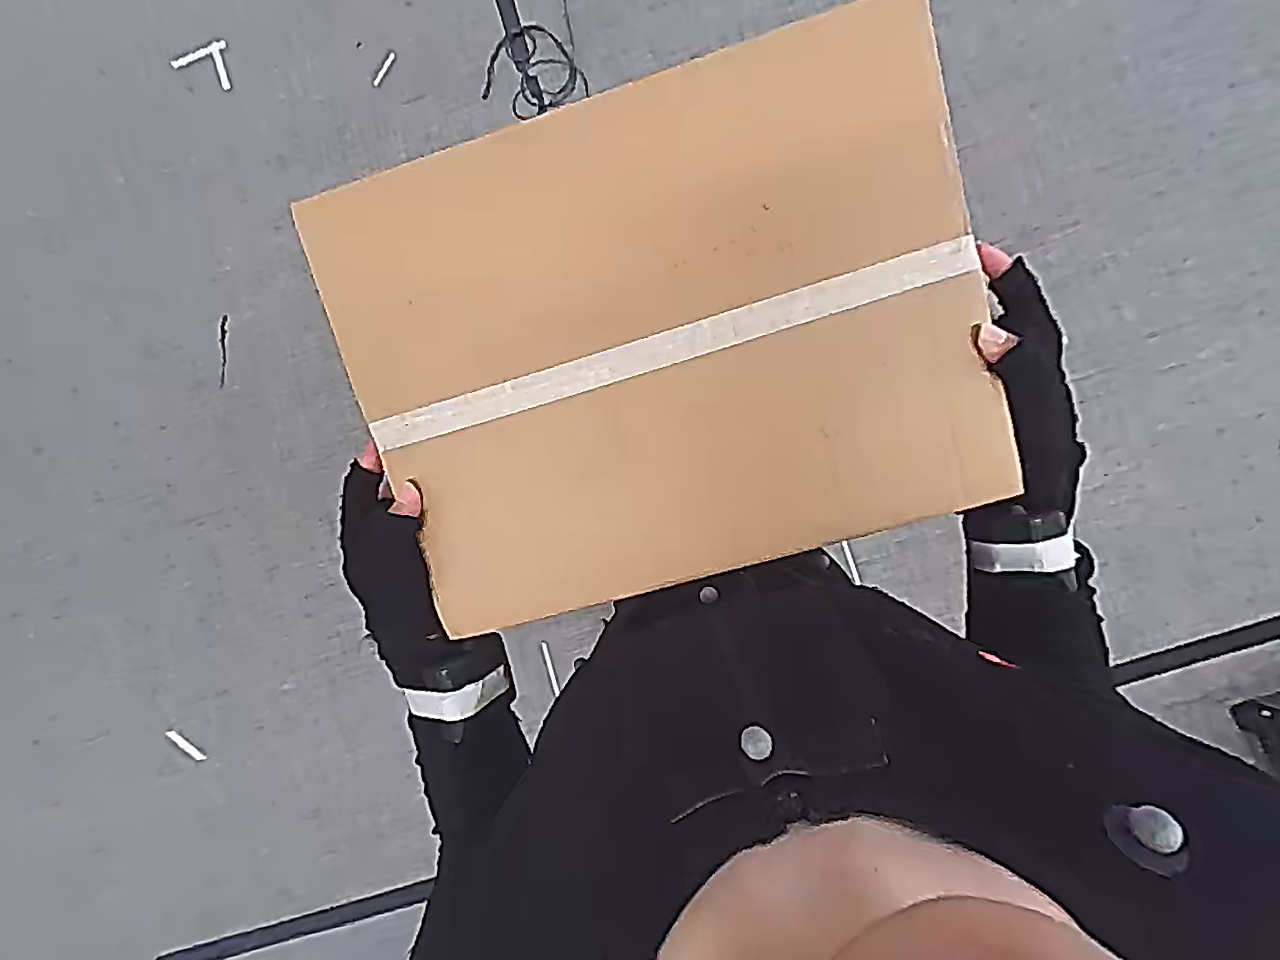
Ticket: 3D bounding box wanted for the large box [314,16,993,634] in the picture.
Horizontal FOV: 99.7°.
[{"bbox_3d":[0.019,-0.107,0.511,0.408,0.320,0.320,-16,97,6],"label":"large box"}]
